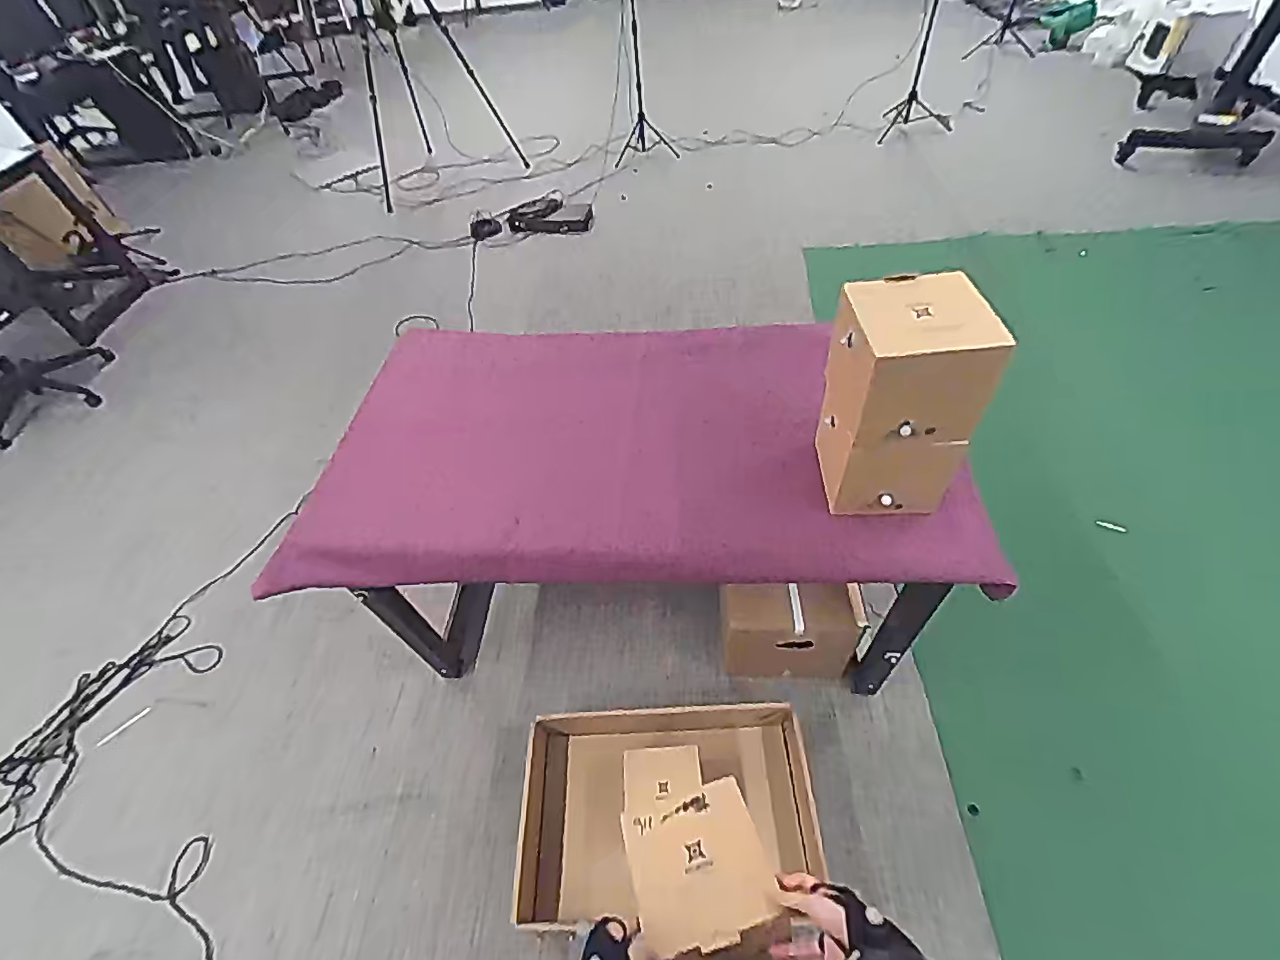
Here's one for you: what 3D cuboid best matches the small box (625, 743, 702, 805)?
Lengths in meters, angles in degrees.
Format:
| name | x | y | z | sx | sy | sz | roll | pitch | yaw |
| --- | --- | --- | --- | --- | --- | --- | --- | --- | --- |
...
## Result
| name | x | y | z | sx | sy | sz | roll | pitch | yaw |
| --- | --- | --- | --- | --- | --- | --- | --- | --- | --- |
| small box | 0.056 | 0.695 | 1.186 | 0.168 | 0.176 | 0.179 | -5 | 51 | 3 |

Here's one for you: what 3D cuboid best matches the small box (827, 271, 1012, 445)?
| name | x | y | z | sx | sy | sz | roll | pitch | yaw |
| --- | --- | --- | --- | --- | --- | --- | --- | --- | --- |
| small box | 0.375 | -0.171 | 0.768 | 0.168 | 0.176 | 0.179 | -4 | 49 | 6 |

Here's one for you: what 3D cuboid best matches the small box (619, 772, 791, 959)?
| name | x | y | z | sx | sy | sz | roll | pitch | yaw |
| --- | --- | --- | --- | --- | --- | --- | --- | --- | --- |
| small box | 0.081 | 0.524 | 0.689 | 0.168 | 0.176 | 0.179 | -14 | 26 | -6 |

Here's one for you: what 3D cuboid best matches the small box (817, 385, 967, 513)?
| name | x | y | z | sx | sy | sz | roll | pitch | yaw |
| --- | --- | --- | --- | --- | --- | --- | --- | --- | --- |
| small box | 0.397 | -0.065 | 0.890 | 0.168 | 0.176 | 0.179 | -2 | 50 | 7 |
